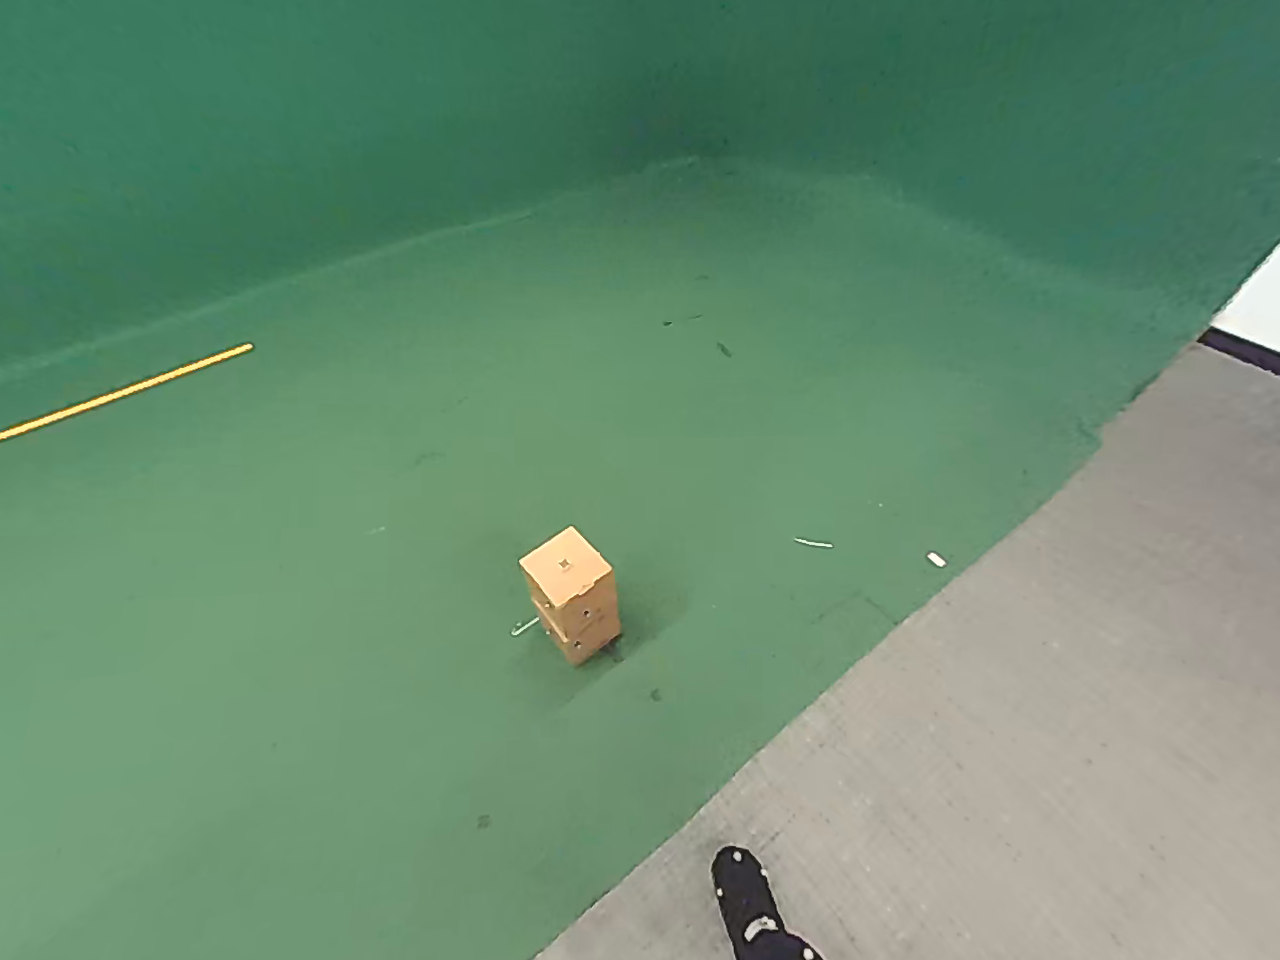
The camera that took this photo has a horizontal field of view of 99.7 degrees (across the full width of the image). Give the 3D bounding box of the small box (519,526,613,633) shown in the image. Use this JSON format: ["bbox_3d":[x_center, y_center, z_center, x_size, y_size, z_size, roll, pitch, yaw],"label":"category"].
[{"bbox_3d":[-0.185,0.257,1.388,0.168,0.176,0.179,-33,57,-24],"label":"small box"}]
